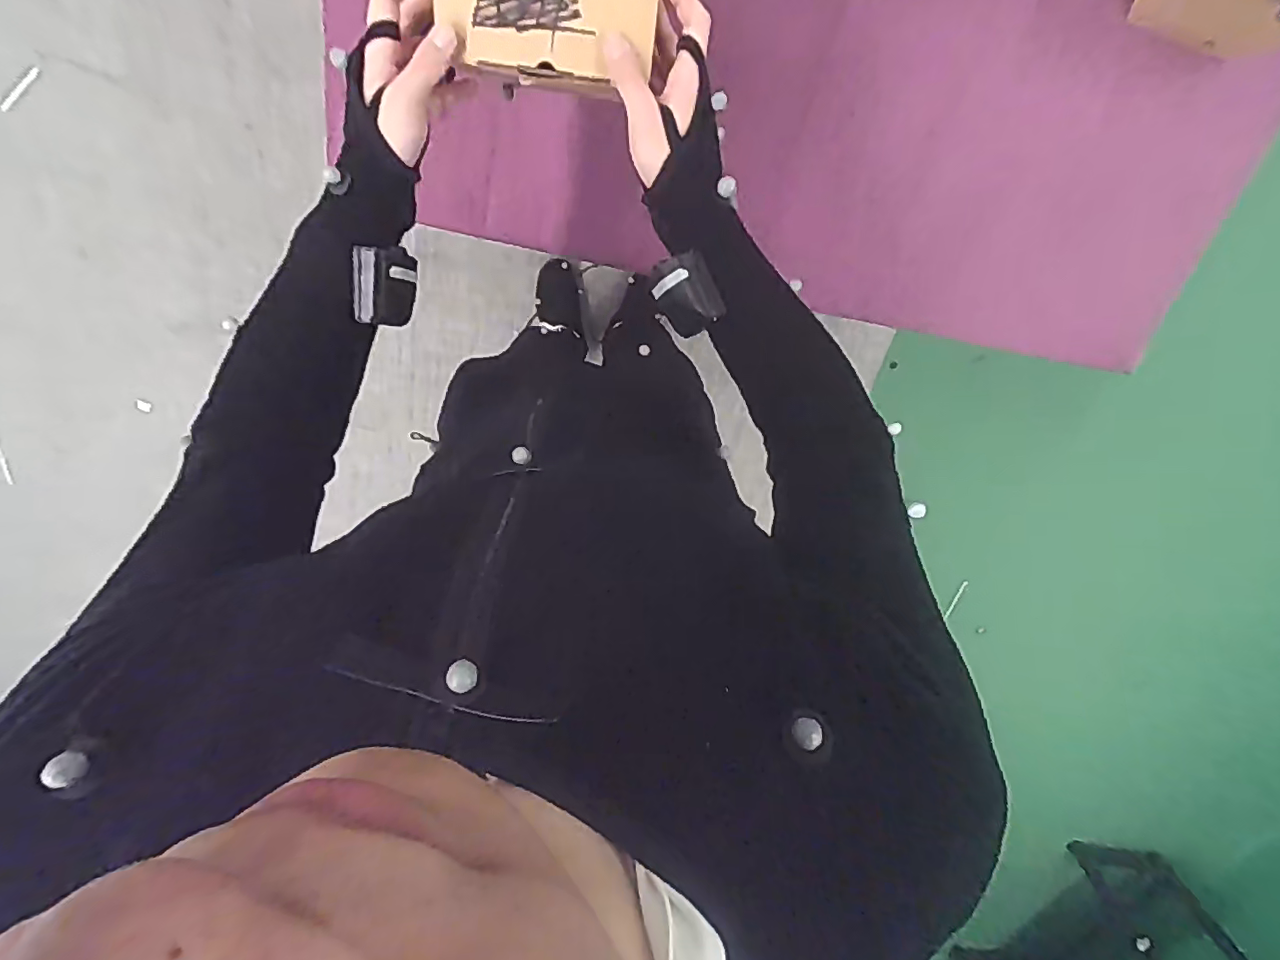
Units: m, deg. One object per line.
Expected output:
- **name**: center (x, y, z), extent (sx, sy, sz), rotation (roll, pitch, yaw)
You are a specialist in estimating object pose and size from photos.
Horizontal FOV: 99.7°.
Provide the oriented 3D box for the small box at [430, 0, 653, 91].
- **small box**: center (-0.068, -0.435, 0.436), extent (0.168, 0.176, 0.179), rotation (4, 120, -6)
